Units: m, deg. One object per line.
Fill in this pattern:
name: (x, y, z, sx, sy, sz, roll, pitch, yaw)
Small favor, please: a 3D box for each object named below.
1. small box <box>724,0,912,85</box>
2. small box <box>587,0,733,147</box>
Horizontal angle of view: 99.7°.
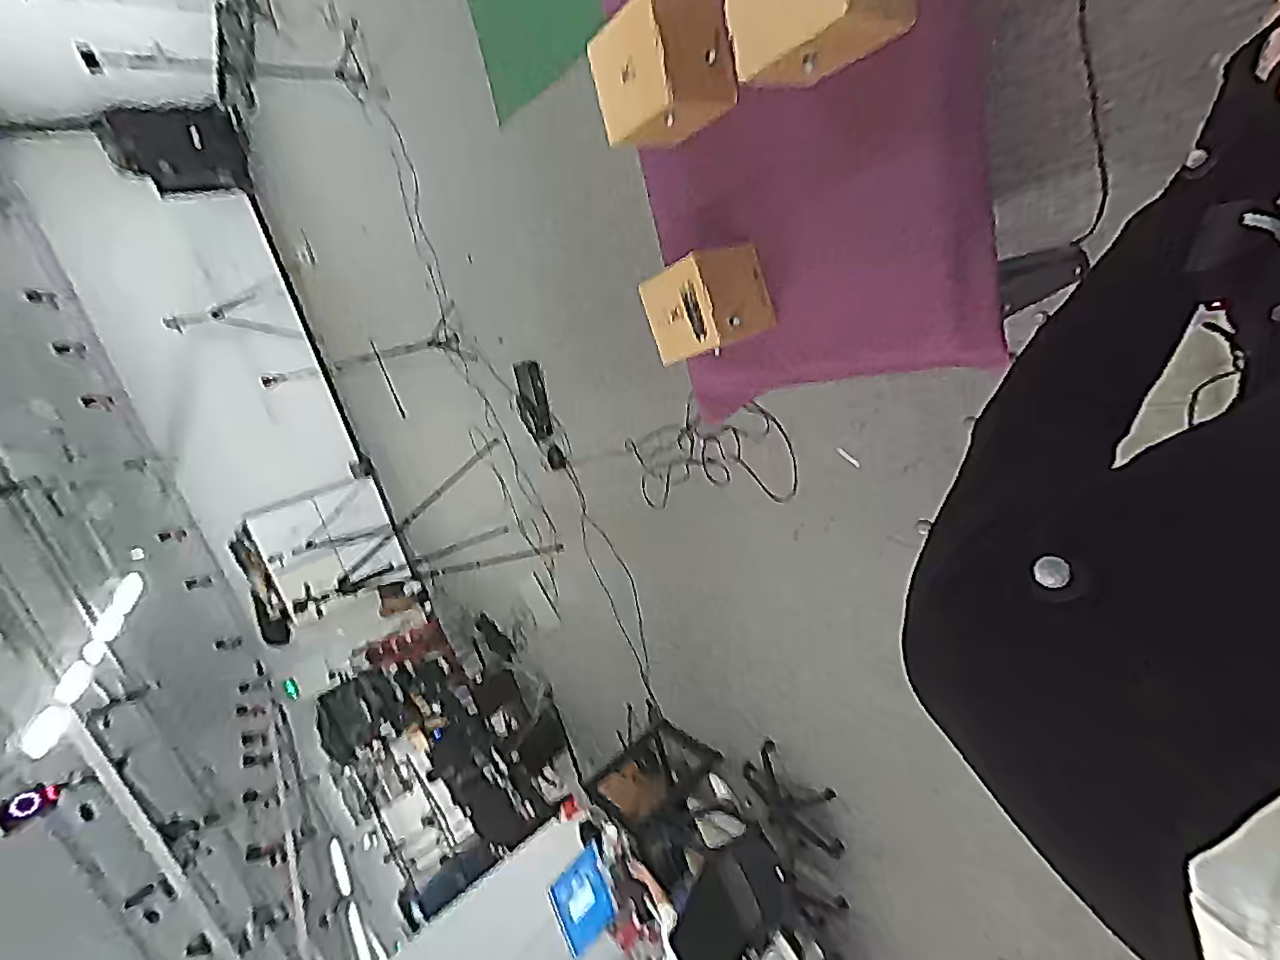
small box: (0.236, -0.662, 0.731, 0.179, 0.176, 0.168, 9, 119, 53)
small box: (0.038, -0.717, 0.967, 0.179, 0.176, 0.168, 4, 115, 51)
